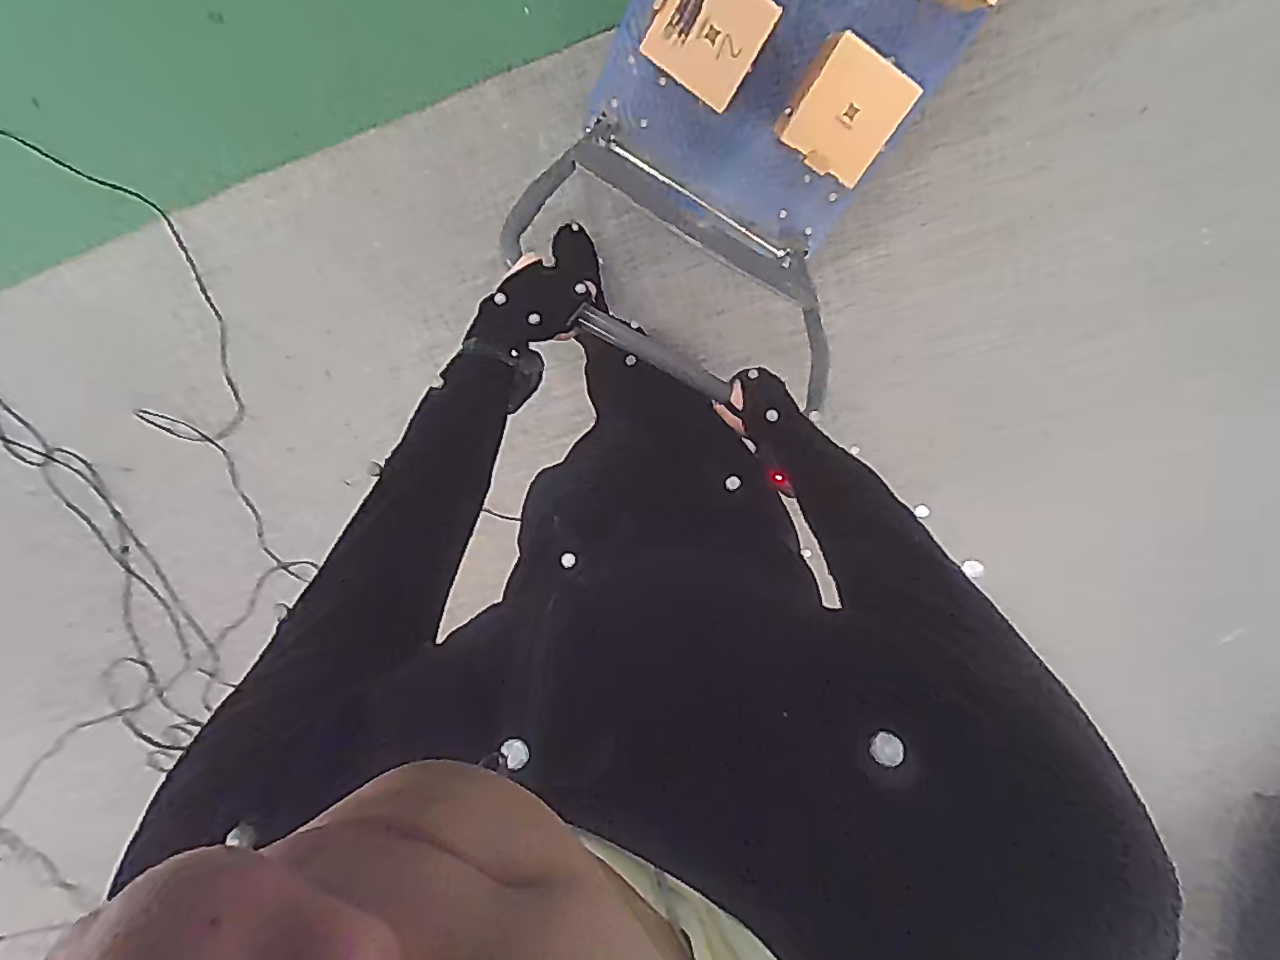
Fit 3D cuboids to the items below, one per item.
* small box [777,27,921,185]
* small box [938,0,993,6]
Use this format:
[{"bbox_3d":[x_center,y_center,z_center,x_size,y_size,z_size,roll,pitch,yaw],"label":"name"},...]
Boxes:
[{"bbox_3d":[0.369,-0.688,0.996,0.168,0.176,0.179,27,128,-13],"label":"small box"},{"bbox_3d":[0.507,-0.872,0.828,0.168,0.176,0.179,21,129,-8],"label":"small box"}]
